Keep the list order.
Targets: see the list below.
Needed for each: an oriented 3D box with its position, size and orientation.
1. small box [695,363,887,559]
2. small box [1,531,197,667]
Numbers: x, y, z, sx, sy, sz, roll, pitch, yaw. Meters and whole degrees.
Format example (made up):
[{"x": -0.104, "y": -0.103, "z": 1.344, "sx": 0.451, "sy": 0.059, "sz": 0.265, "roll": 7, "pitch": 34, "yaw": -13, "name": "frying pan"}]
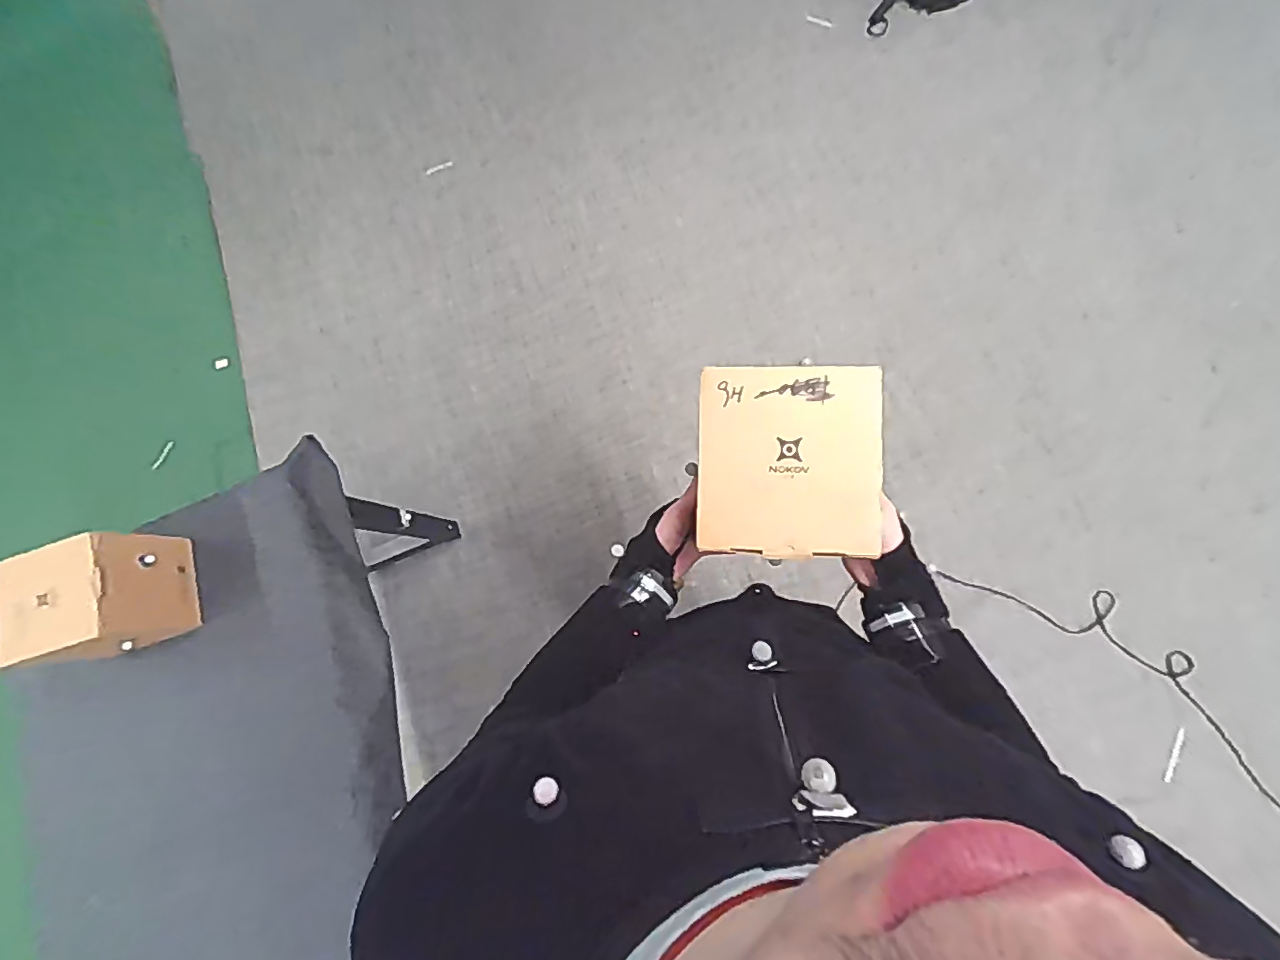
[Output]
[{"x": 0.145, "y": -0.015, "z": 0.565, "sx": 0.168, "sy": 0.176, "sz": 0.179, "roll": 2, "pitch": 86, "yaw": 7, "name": "small box"}, {"x": -0.876, "y": 0.193, "z": 0.893, "sx": 0.179, "sy": 0.176, "sz": 0.168, "roll": -19, "pitch": 75, "yaw": 5, "name": "small box"}]
